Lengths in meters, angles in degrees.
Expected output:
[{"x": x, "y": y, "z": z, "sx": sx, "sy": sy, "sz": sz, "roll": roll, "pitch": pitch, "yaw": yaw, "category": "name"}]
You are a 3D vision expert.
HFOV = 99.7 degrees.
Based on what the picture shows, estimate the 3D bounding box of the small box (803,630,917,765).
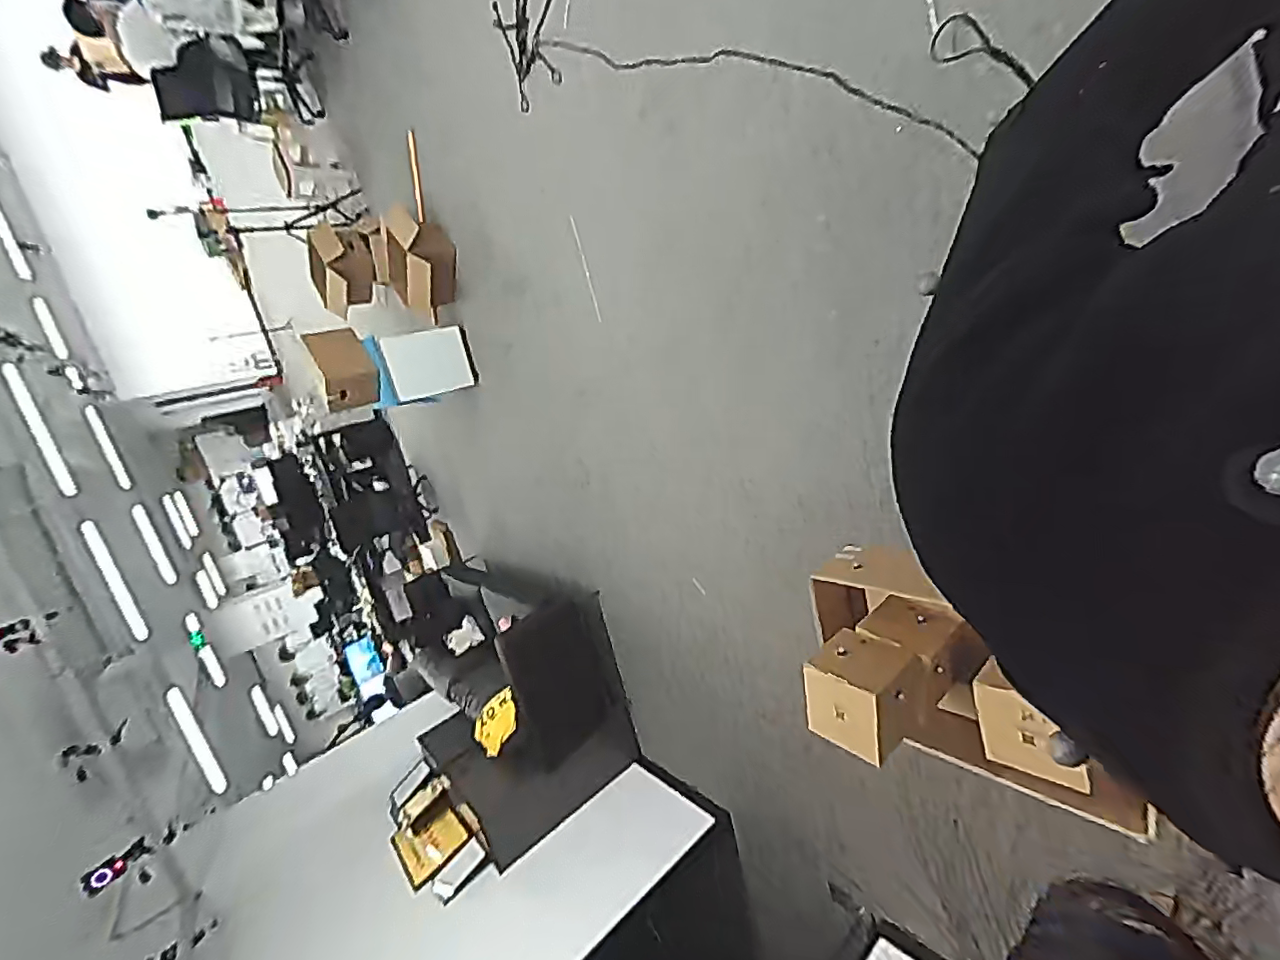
[{"x": 0.468, "y": 0.448, "z": 1.148, "sx": 0.168, "sy": 0.176, "sz": 0.179, "roll": 12, "pitch": 118, "yaw": 50, "category": "small box"}]

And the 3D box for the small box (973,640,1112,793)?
[{"x": 0.767, "y": 0.436, "z": 1.027, "sx": 0.168, "sy": 0.176, "sz": 0.179, "roll": -2, "pitch": 107, "yaw": 53, "category": "small box"}]
